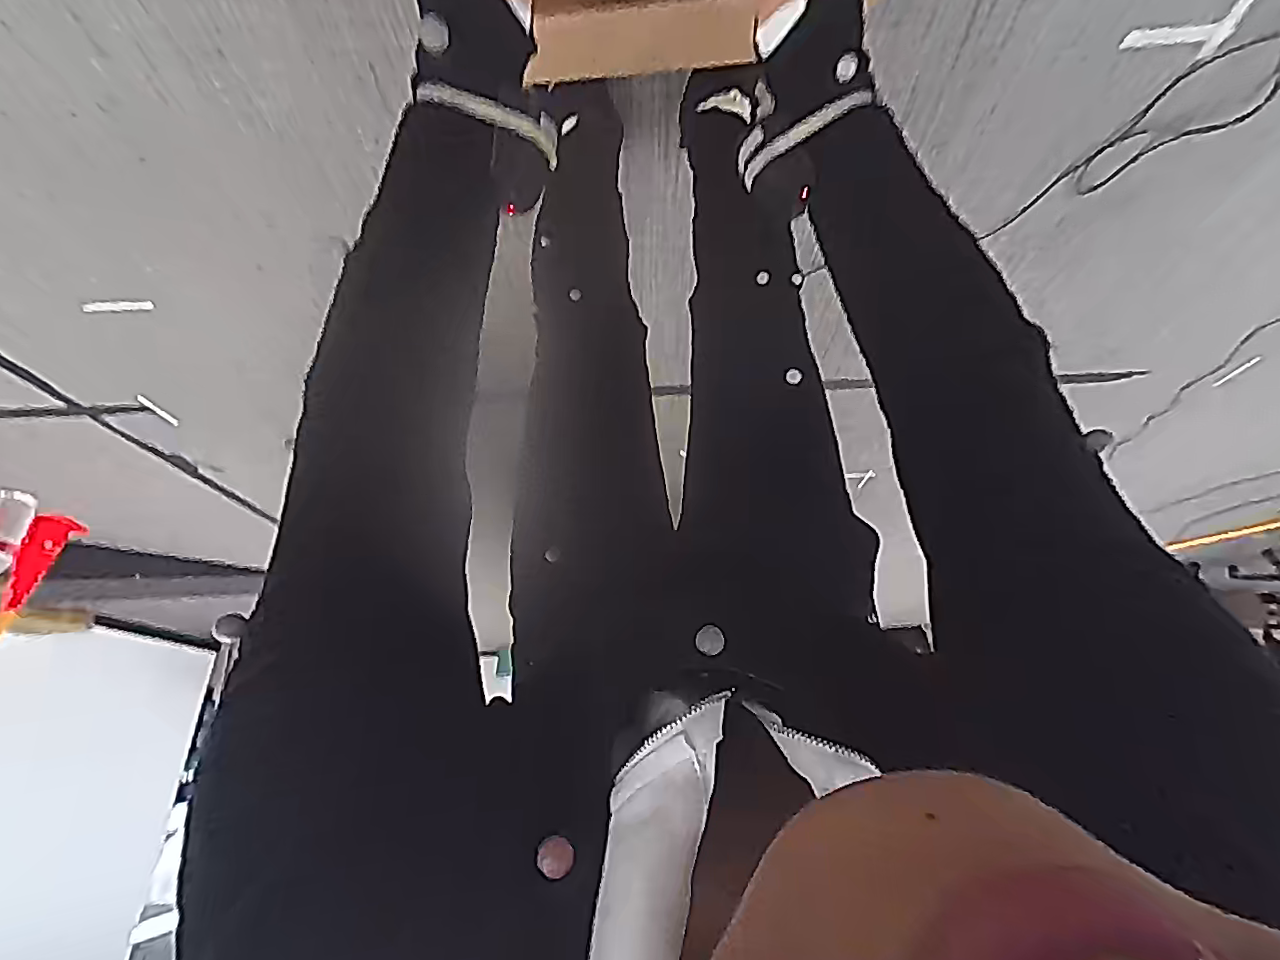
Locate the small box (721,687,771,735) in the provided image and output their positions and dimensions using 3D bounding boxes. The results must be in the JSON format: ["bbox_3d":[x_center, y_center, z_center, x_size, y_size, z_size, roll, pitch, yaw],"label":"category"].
[{"bbox_3d":[0.423,0.930,2.179,0.168,0.176,0.179,-4,154,1],"label":"small box"}]

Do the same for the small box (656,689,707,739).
[{"bbox_3d":[0.163,0.939,2.171,0.179,0.176,0.168,-3,155,-2],"label":"small box"}]
